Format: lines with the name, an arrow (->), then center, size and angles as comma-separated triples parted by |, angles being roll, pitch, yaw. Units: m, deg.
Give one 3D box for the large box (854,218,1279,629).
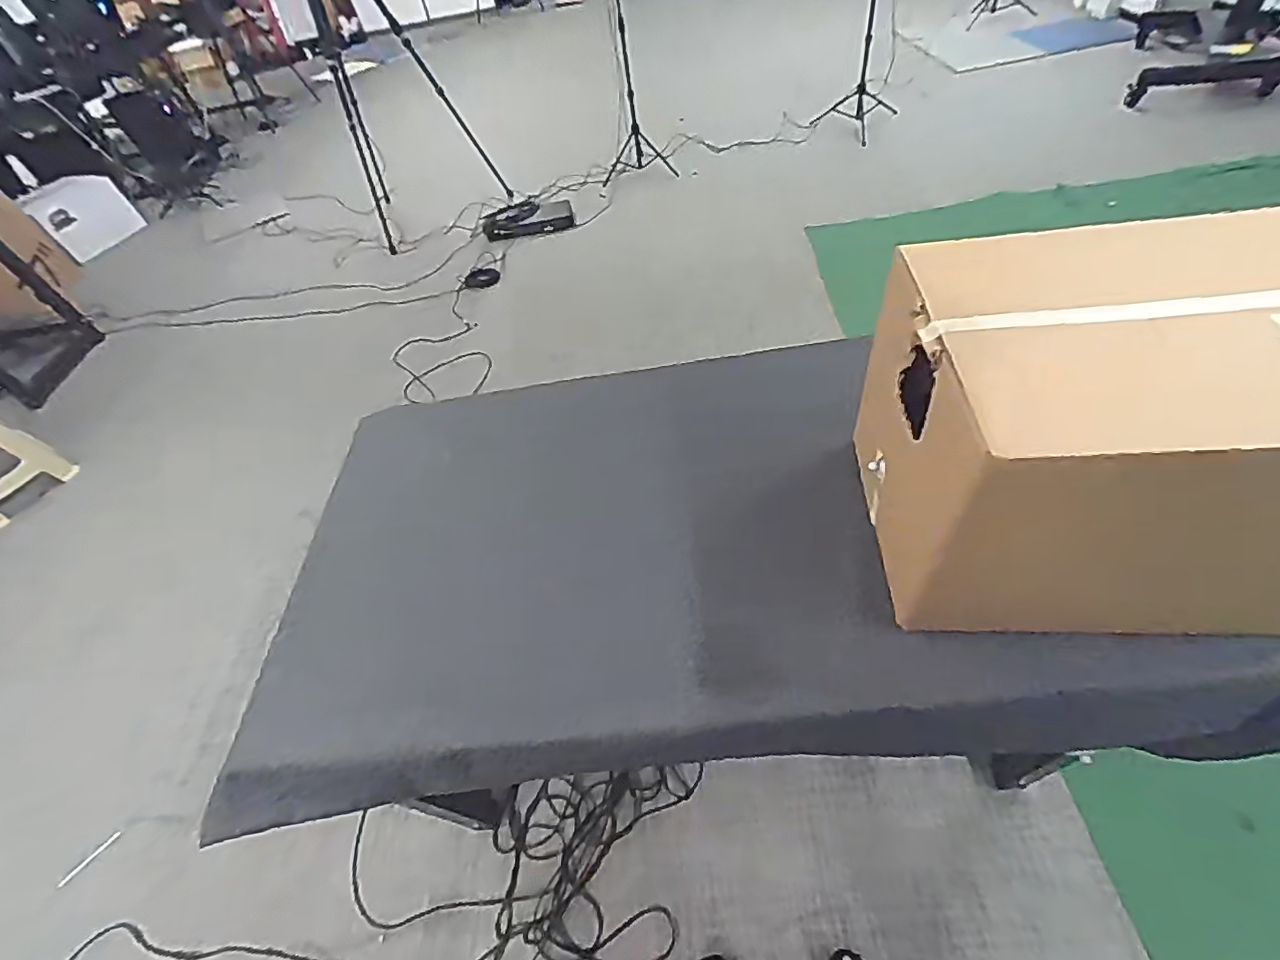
large box -> 0.489, -0.046, 0.582 | 0.408, 0.320, 0.320 | -1, 51, 9
